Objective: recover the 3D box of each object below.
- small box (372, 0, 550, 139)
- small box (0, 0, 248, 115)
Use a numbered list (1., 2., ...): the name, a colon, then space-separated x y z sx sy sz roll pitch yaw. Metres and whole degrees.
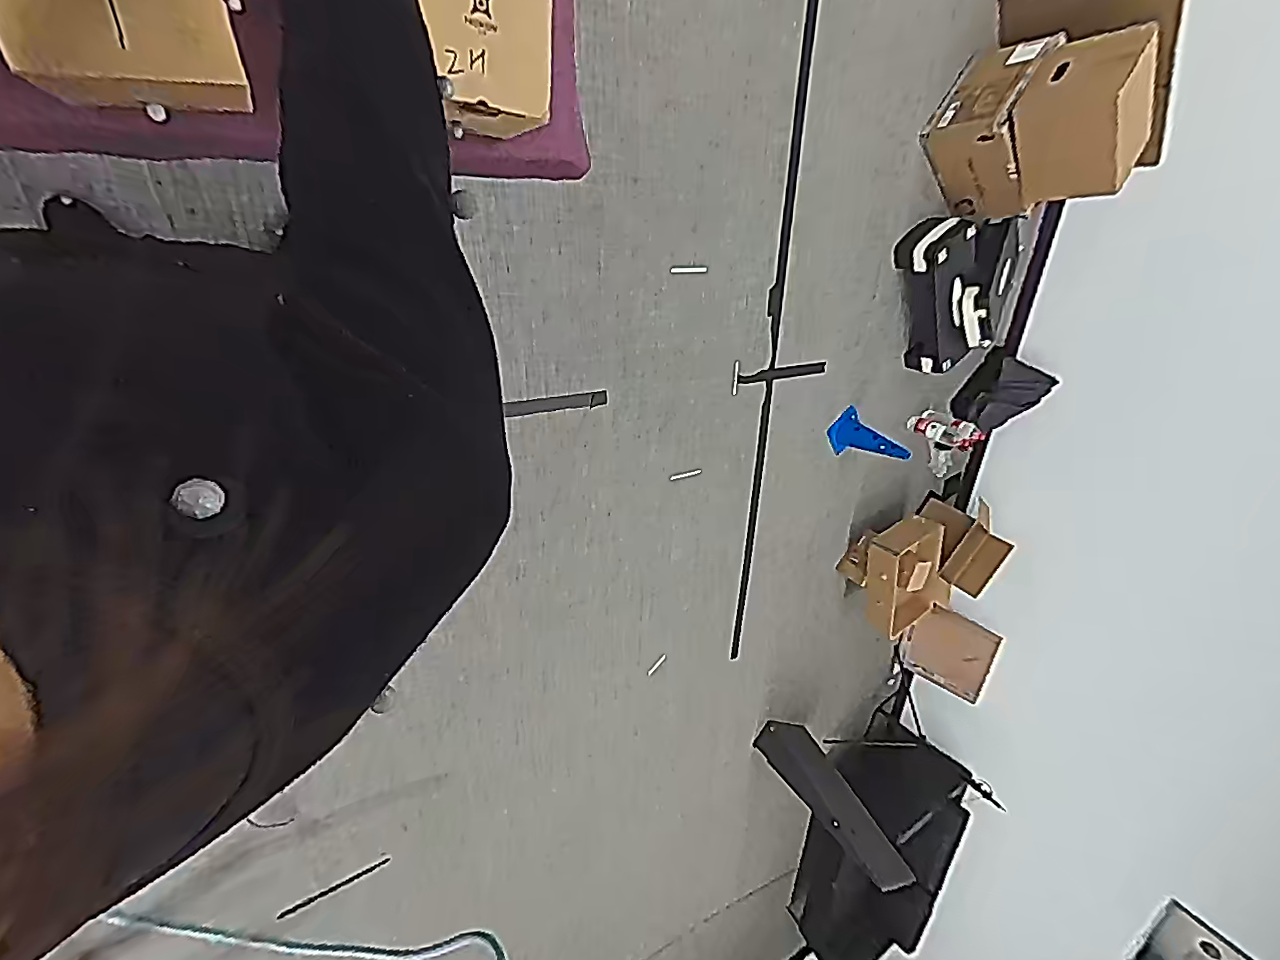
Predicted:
1. small box: -0.216 -0.530 0.642 0.168 0.176 0.179 -8 116 -30
2. small box: -0.484 -0.455 0.496 0.168 0.176 0.179 -17 121 -27
